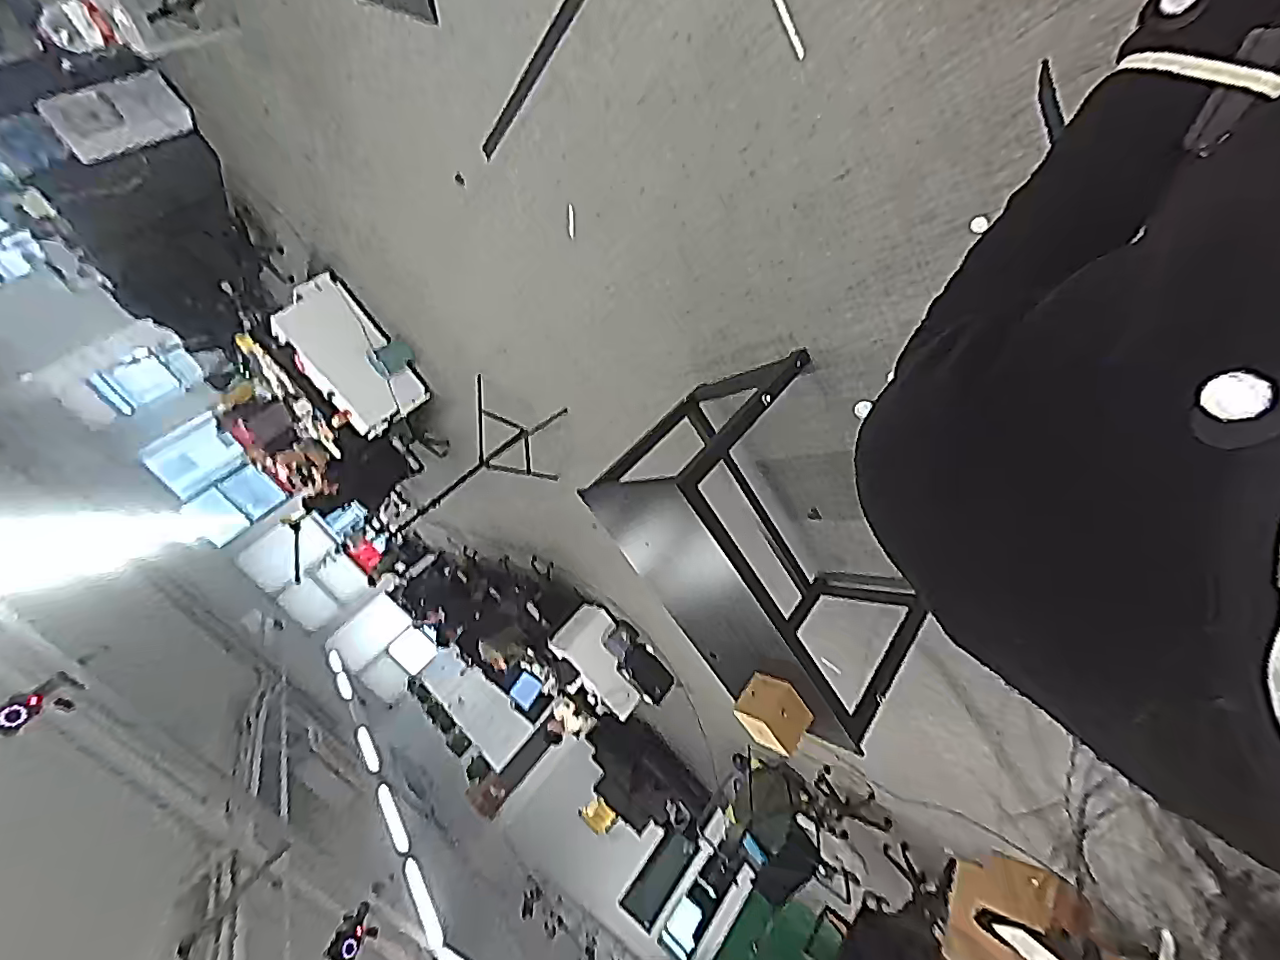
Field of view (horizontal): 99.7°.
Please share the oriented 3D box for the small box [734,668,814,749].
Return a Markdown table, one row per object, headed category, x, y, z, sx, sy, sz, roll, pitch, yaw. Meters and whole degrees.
| category | x | y | z | sx | sy | sz | roll | pitch | yaw |
| --- | --- | --- | --- | --- | --- | --- | --- | --- | --- |
| small box | 0.472 | 0.792 | 1.893 | 0.179 | 0.176 | 0.168 | 53 | 154 | -17 |
